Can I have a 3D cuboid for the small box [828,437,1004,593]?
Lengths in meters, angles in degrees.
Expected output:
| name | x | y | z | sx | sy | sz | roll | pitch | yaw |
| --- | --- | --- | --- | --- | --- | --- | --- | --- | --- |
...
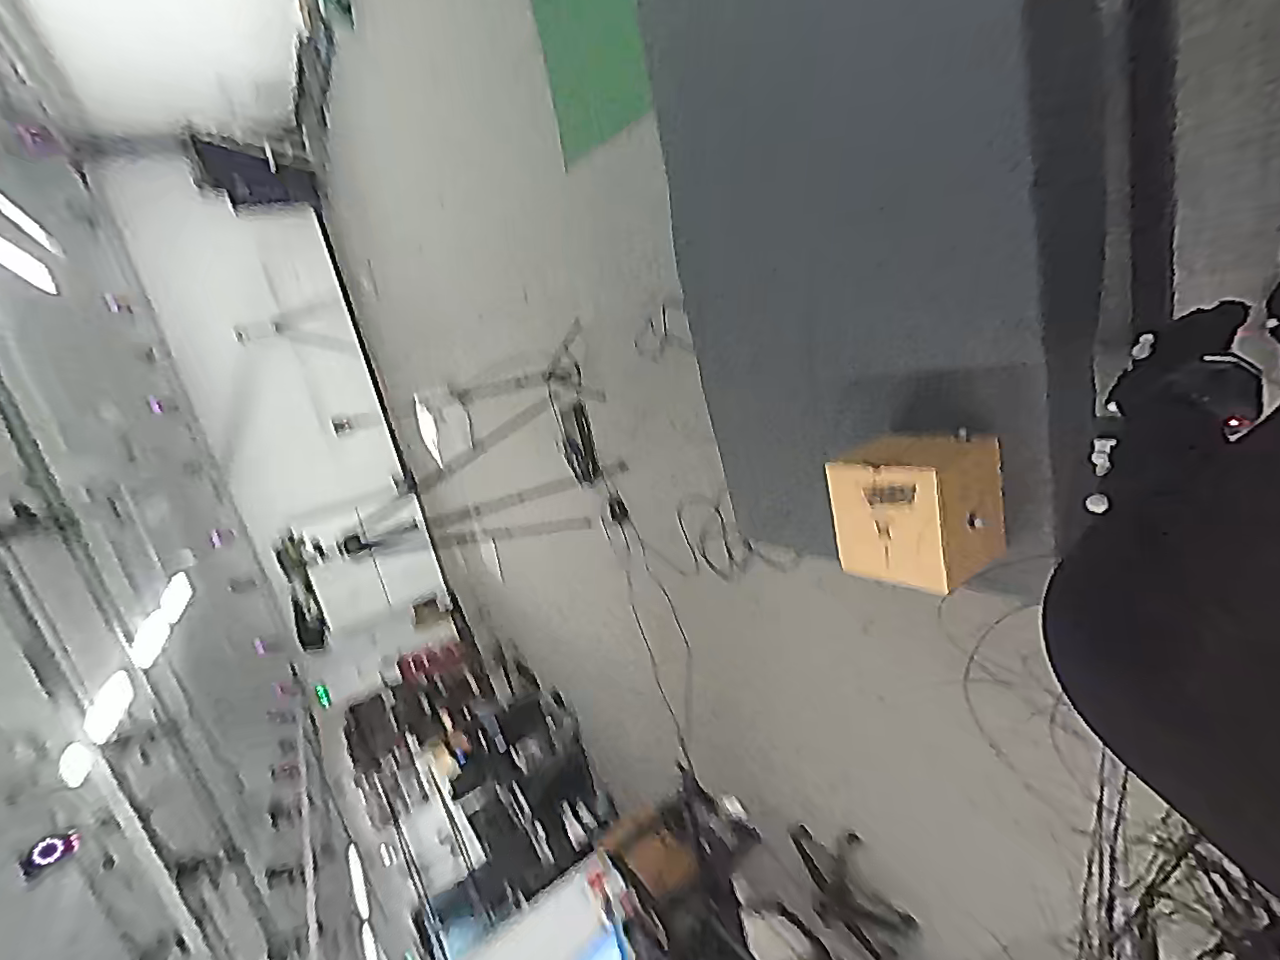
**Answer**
| name | x | y | z | sx | sy | sz | roll | pitch | yaw |
| --- | --- | --- | --- | --- | --- | --- | --- | --- | --- |
| small box | 0.408 | 0.038 | 0.798 | 0.168 | 0.176 | 0.179 | 6 | 113 | 56 |
